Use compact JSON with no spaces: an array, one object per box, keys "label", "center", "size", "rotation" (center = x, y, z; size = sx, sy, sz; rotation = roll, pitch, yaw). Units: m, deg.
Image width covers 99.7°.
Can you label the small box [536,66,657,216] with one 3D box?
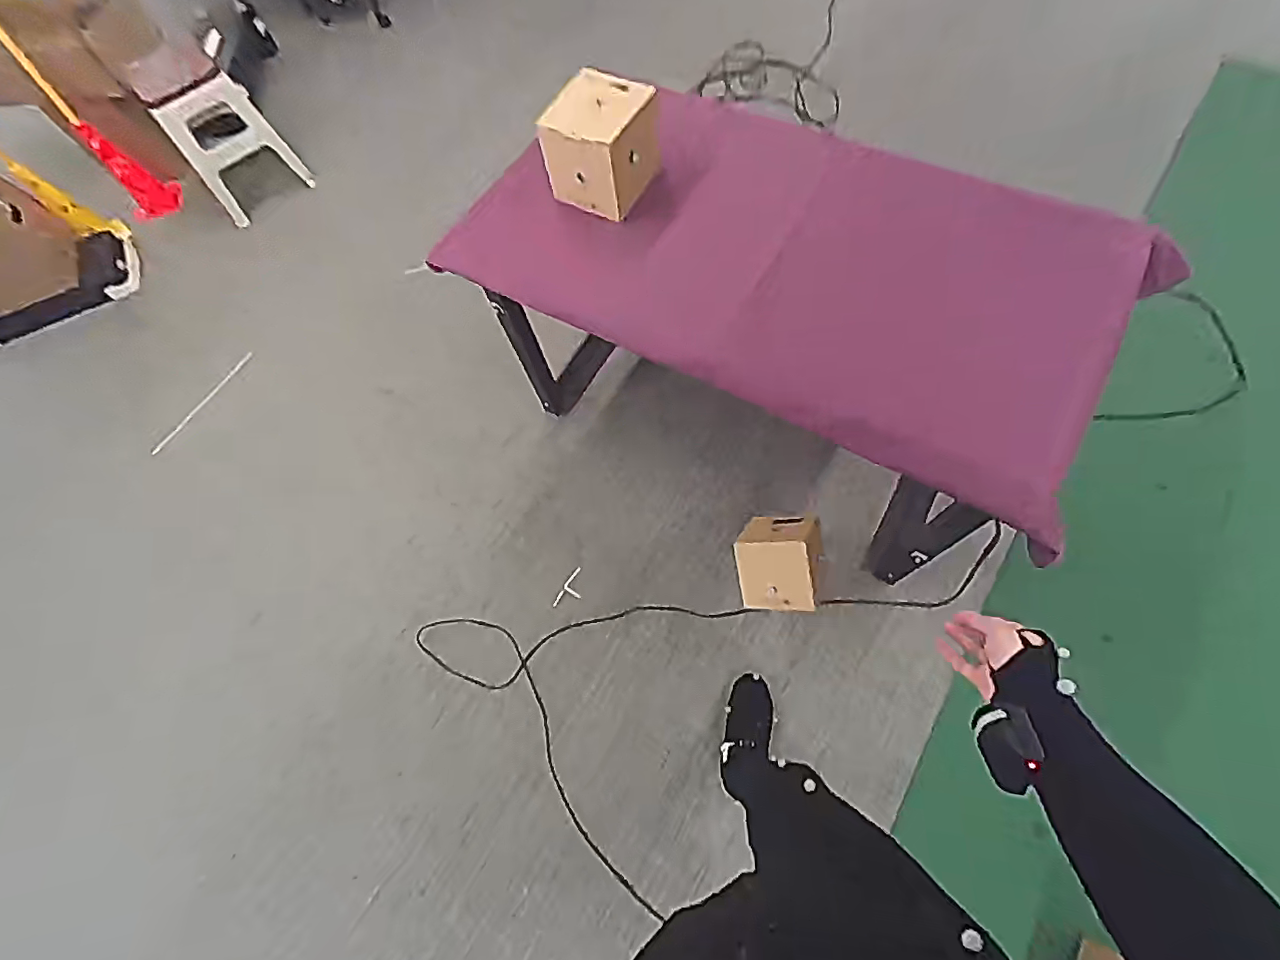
[{"label":"small box","center":[-0.074,-0.664,1.073],"size":[0.168,0.176,0.179],"rotation":[27,74,15]}]

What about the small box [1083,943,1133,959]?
[{"label":"small box","center":[0.978,1.043,1.036],"size":[0.179,0.176,0.168],"rotation":[28,72,15]}]
